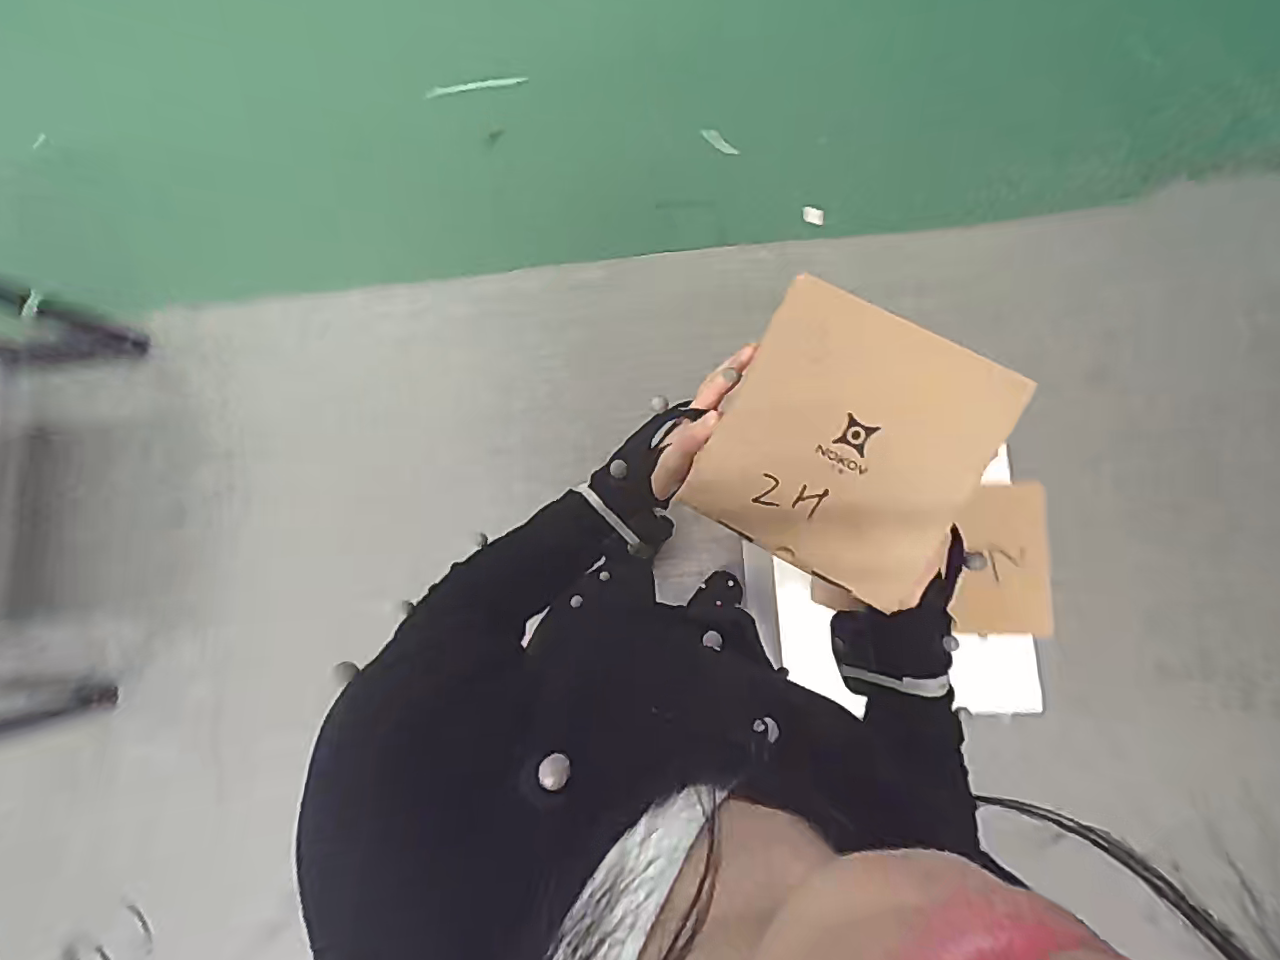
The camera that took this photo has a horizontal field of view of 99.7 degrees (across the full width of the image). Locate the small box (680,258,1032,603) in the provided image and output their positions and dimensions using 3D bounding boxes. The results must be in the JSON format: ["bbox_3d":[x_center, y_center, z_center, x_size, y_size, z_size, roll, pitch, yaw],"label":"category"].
[{"bbox_3d":[0.145,-0.038,0.429,0.168,0.176,0.179,27,99,6],"label":"small box"}]

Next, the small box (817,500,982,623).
[{"bbox_3d":[0.376,0.112,0.807,0.179,0.176,0.168,3,84,6],"label":"small box"}]
